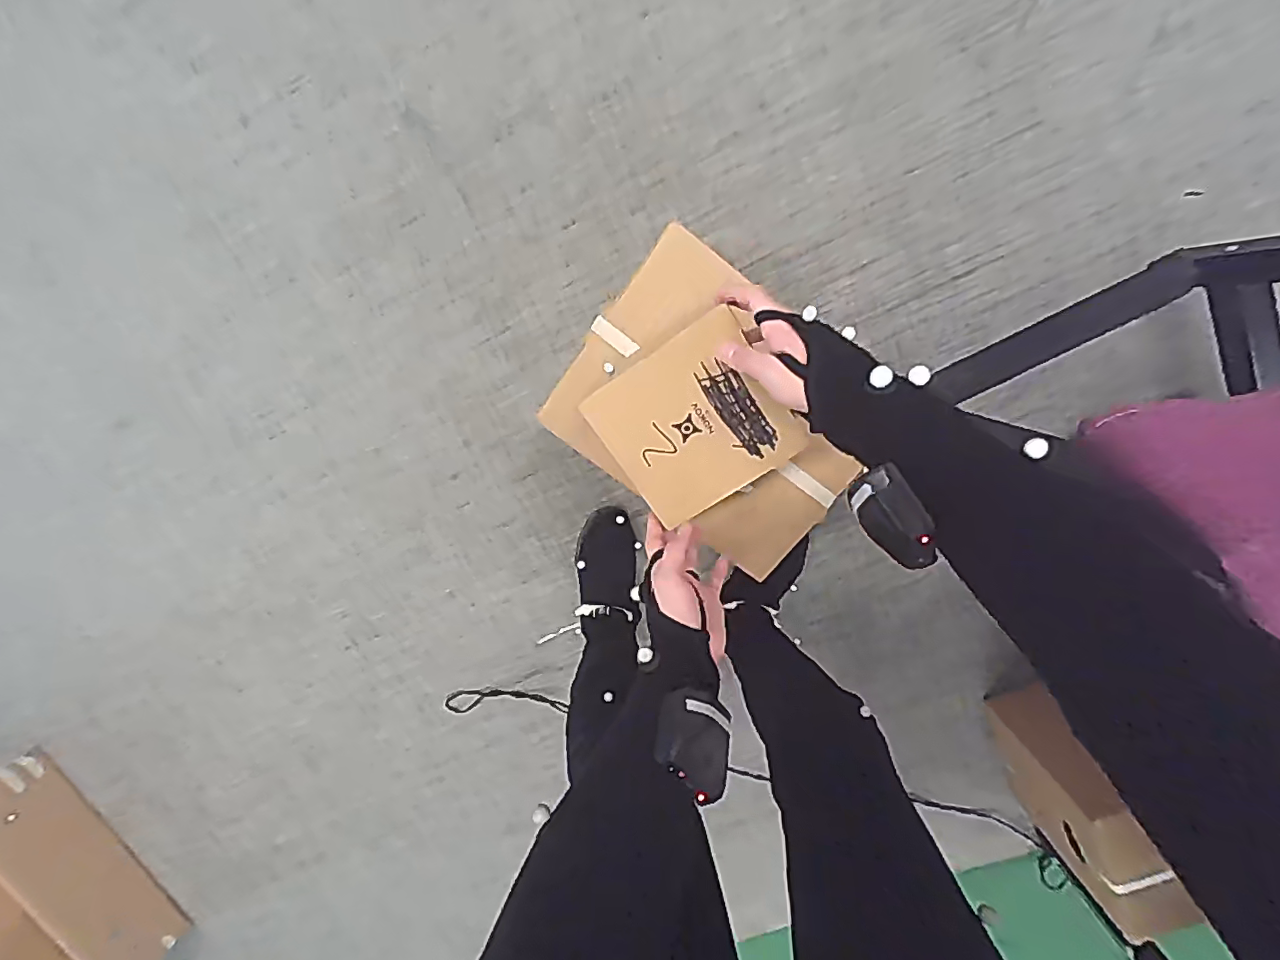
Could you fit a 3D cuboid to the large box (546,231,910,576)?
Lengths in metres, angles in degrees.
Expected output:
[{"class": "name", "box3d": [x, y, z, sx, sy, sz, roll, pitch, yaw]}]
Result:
[{"class": "large box", "box3d": [0.117, -0.124, 0.874, 0.408, 0.320, 0.320, 36, 104, -9]}]
